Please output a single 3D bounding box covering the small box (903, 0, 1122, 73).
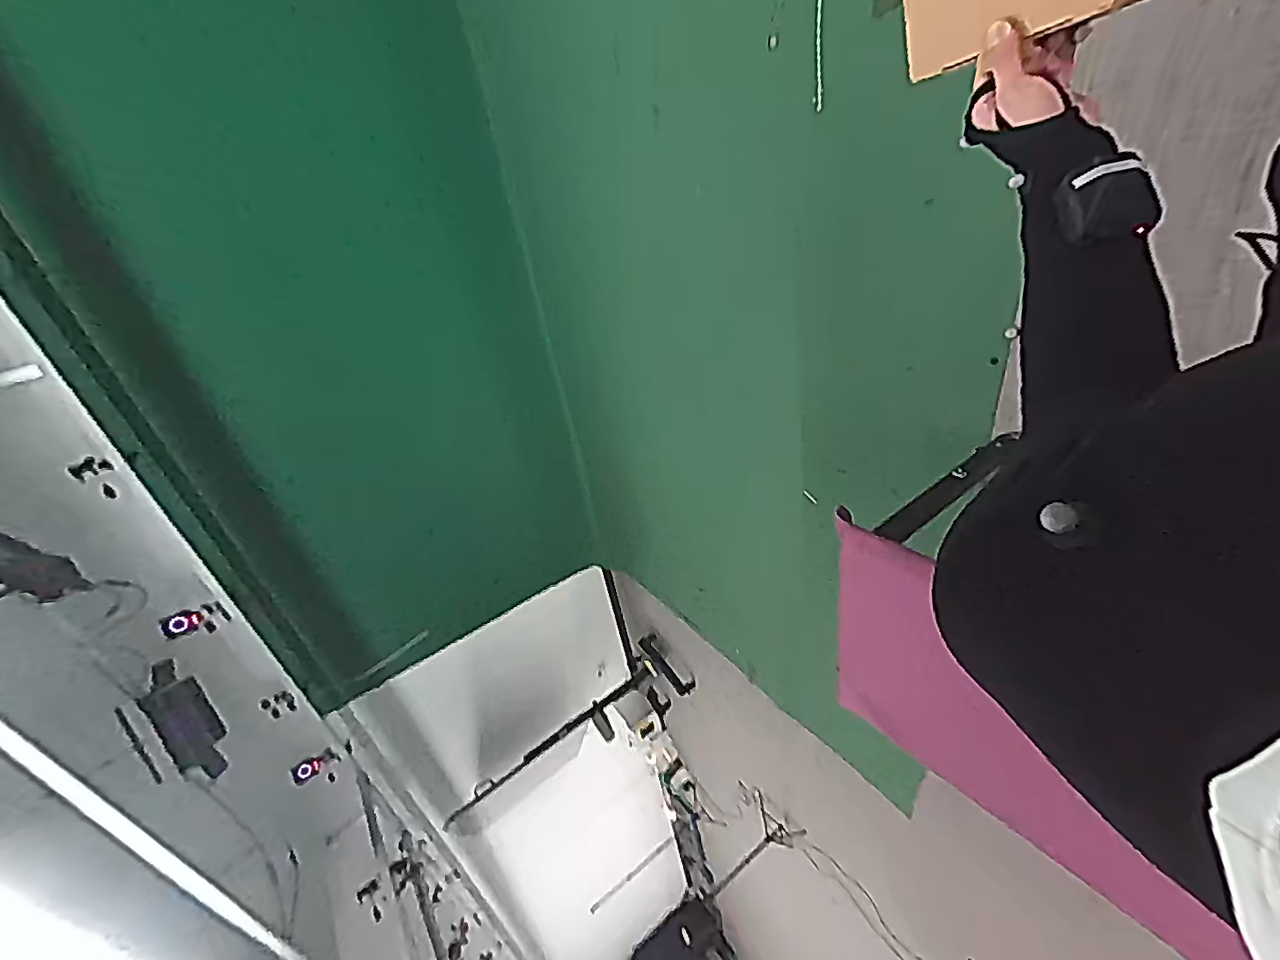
[{"bbox_3d":[0.354,-0.504,0.478,0.168,0.176,0.179,18,134,50],"label":"small box"}]
